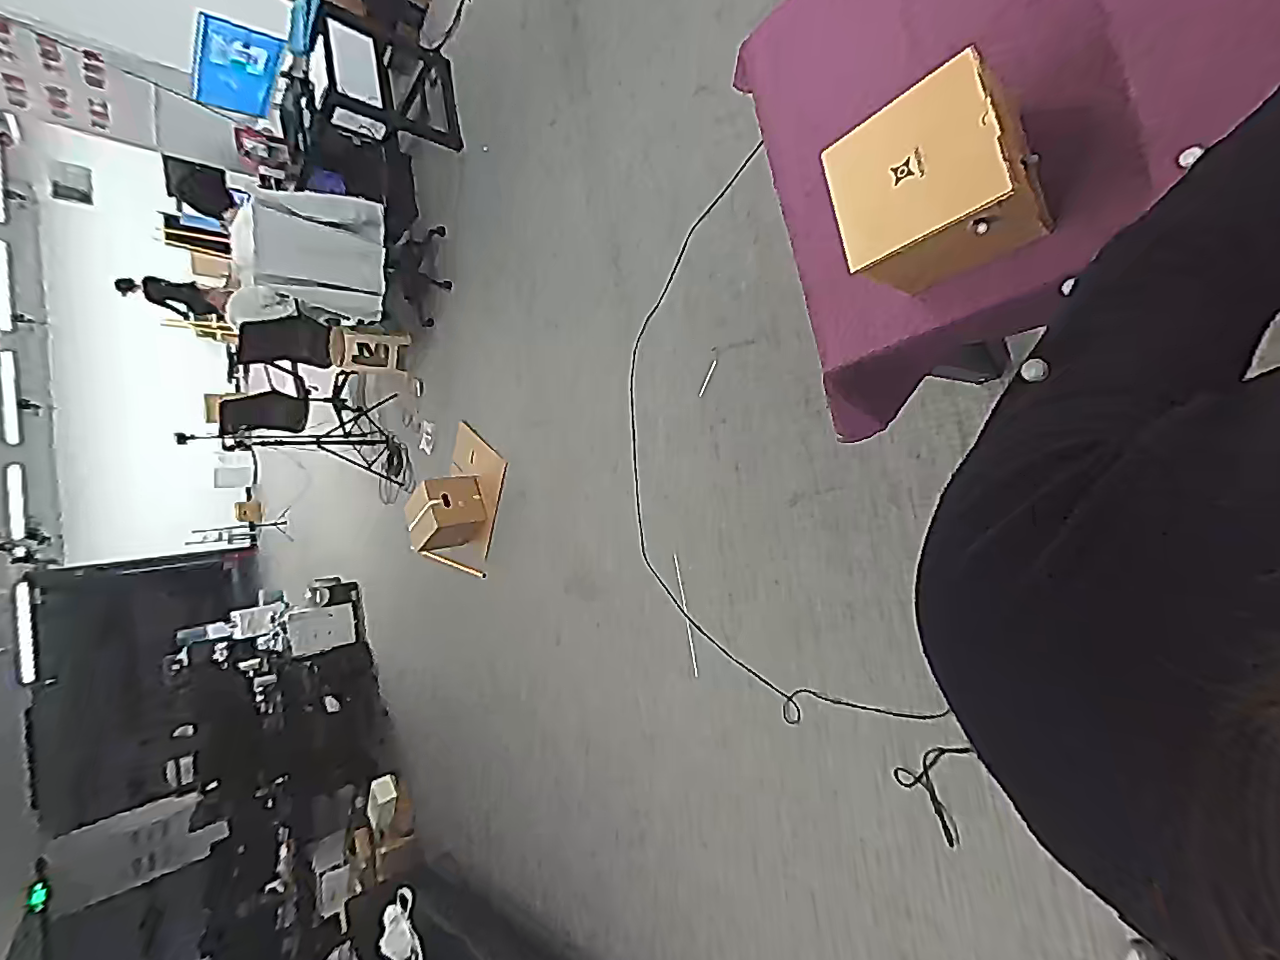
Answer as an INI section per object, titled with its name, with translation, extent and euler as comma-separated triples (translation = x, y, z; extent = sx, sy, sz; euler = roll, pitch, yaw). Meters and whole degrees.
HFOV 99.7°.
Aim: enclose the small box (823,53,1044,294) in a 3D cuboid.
[small box]
translation = 0.360, -0.352, 0.666
extent = 0.179, 0.176, 0.168
euler = -18, 80, 45
